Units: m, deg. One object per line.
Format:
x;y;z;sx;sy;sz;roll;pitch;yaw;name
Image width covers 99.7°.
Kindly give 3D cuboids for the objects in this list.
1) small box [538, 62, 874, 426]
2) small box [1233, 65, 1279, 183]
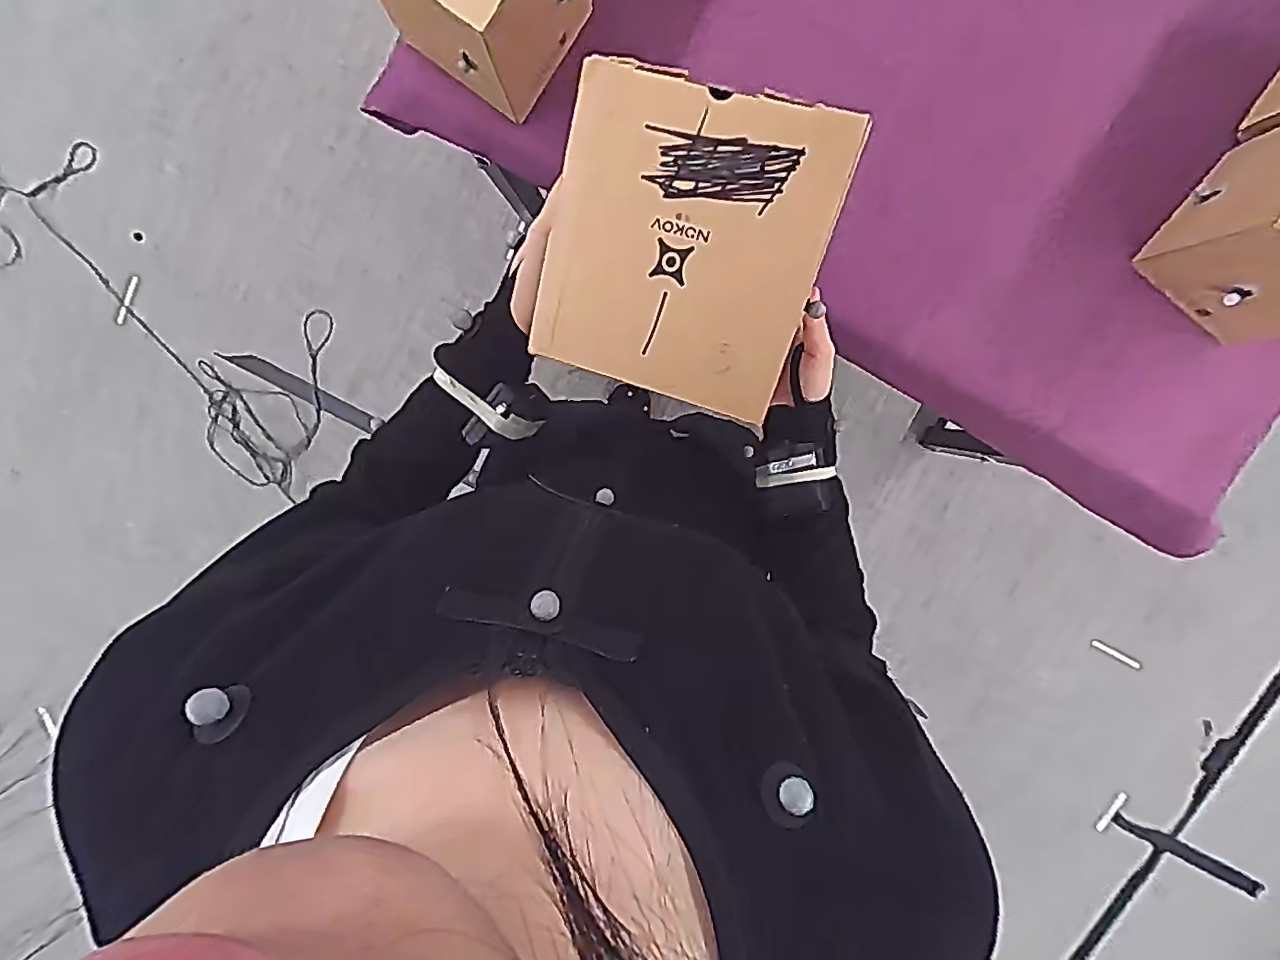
0.048;-0.159;0.404;0.168;0.176;0.179;20;109;9;small box
0.829;-0.439;0.582;0.168;0.176;0.179;31;97;-4;small box
